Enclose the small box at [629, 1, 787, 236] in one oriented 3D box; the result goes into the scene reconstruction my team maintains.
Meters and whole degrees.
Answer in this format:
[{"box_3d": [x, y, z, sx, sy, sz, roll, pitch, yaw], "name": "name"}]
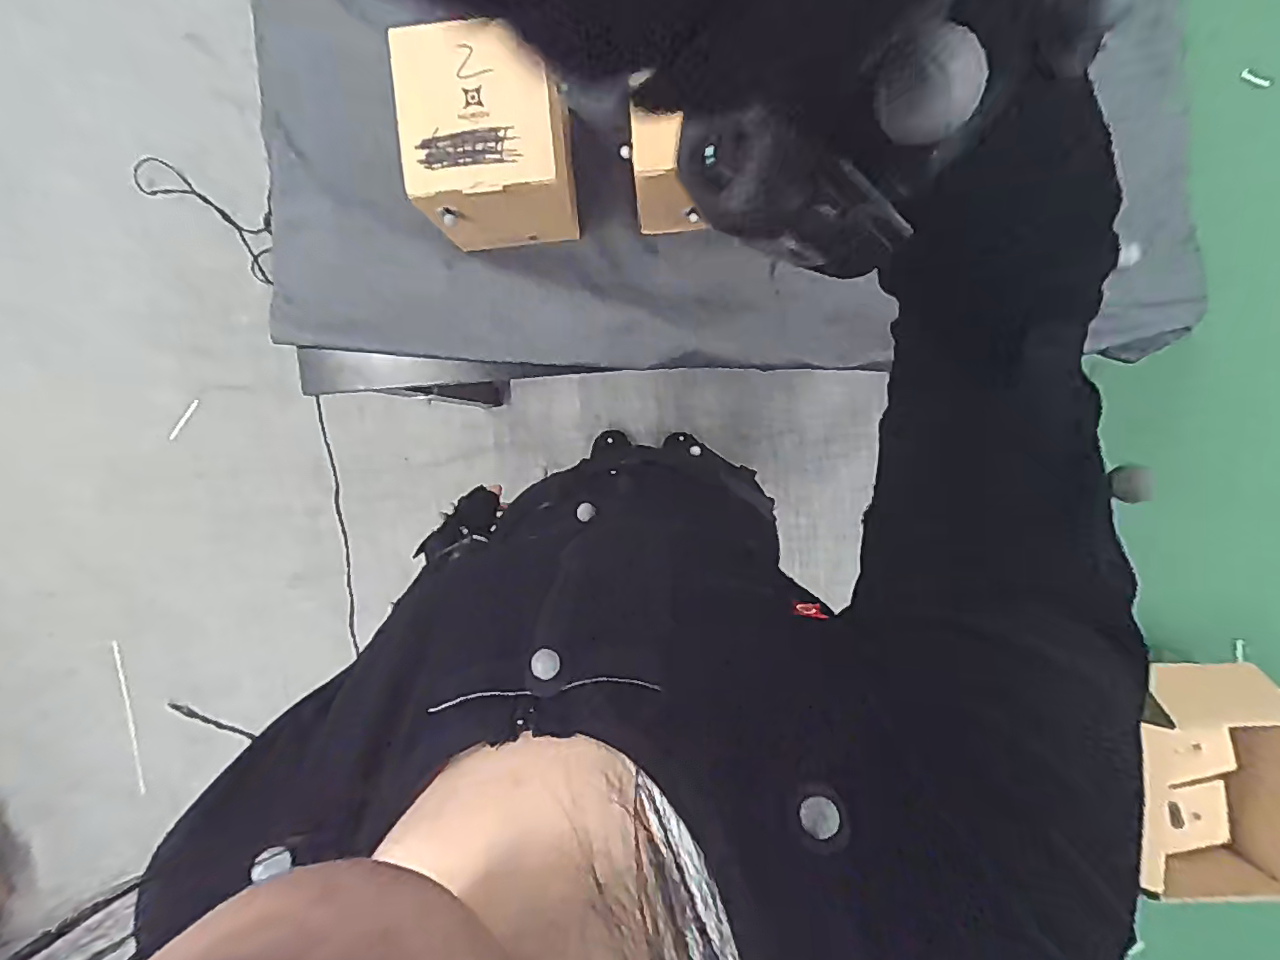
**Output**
[{"box_3d": [0.074, -0.424, 0.661, 0.168, 0.176, 0.179, -4, 95, 2], "name": "small box"}]
